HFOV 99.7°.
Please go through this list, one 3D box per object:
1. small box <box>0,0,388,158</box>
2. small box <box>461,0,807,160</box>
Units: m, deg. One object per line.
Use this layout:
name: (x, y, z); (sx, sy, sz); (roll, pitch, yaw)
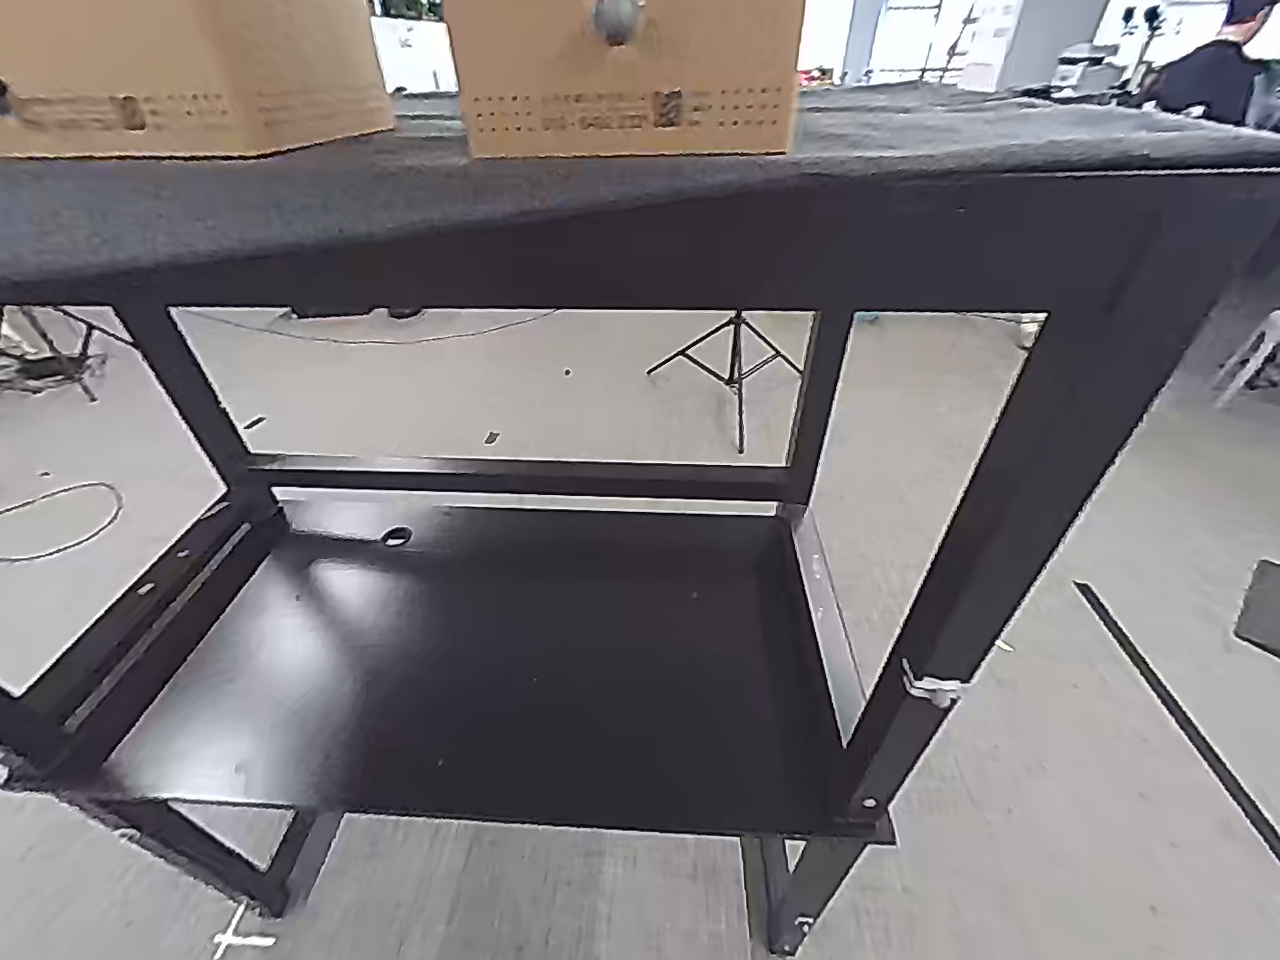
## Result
small box: (-0.274, -0.290, 0.311); (0.168, 0.176, 0.179); (2, 36, 3)
small box: (0.000, -0.283, 0.295); (0.168, 0.176, 0.179); (1, 38, 5)
